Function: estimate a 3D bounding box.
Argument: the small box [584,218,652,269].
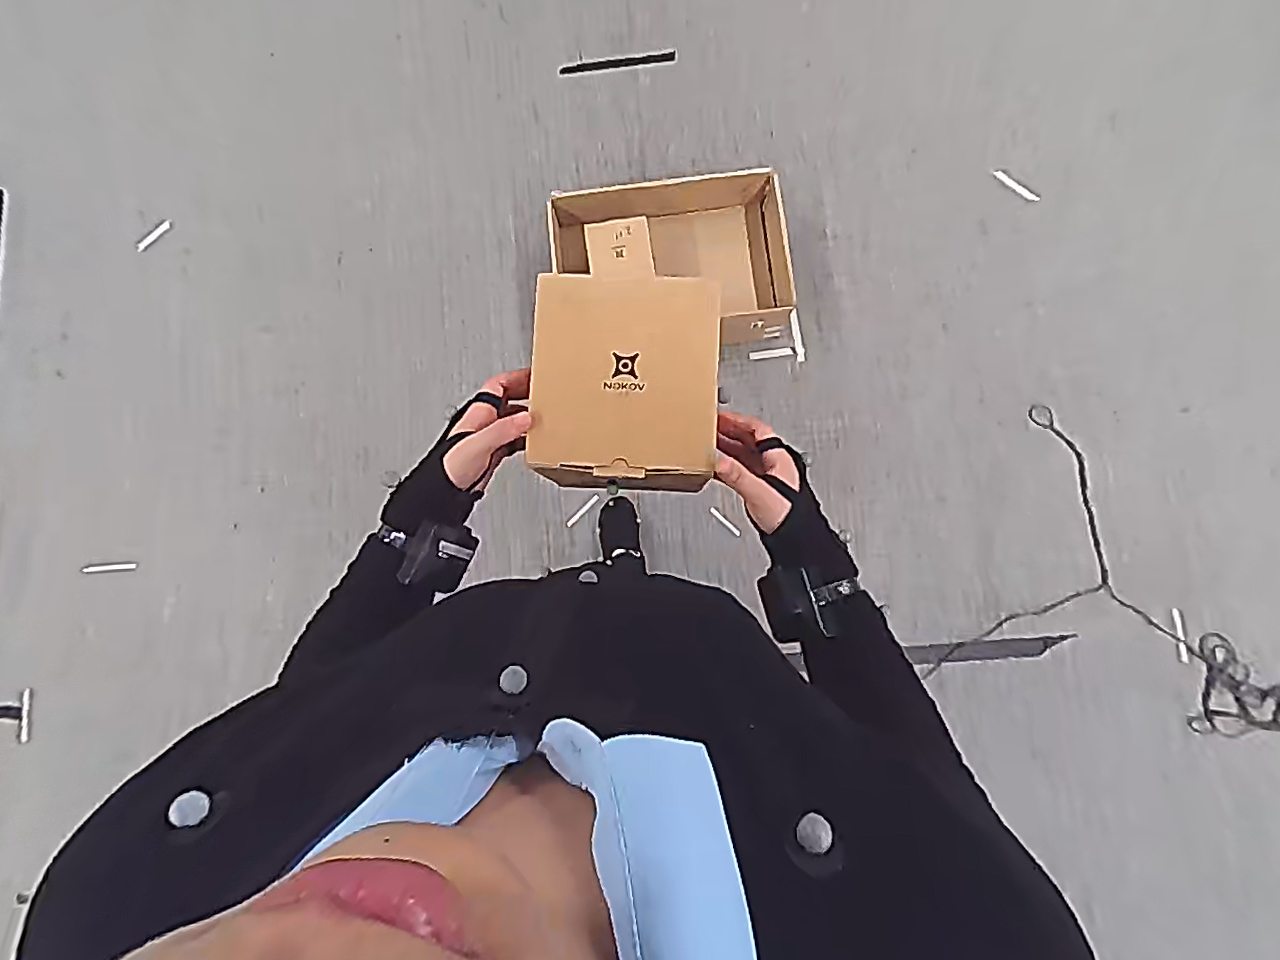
[{"bbox_3d":[-0.052,-0.570,1.463,0.168,0.176,0.179,-8,83,0],"label":"small box"}]

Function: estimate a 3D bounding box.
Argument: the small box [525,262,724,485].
[{"bbox_3d":[-0.012,-0.093,0.545,0.168,0.176,0.179,2,85,1],"label":"small box"}]
